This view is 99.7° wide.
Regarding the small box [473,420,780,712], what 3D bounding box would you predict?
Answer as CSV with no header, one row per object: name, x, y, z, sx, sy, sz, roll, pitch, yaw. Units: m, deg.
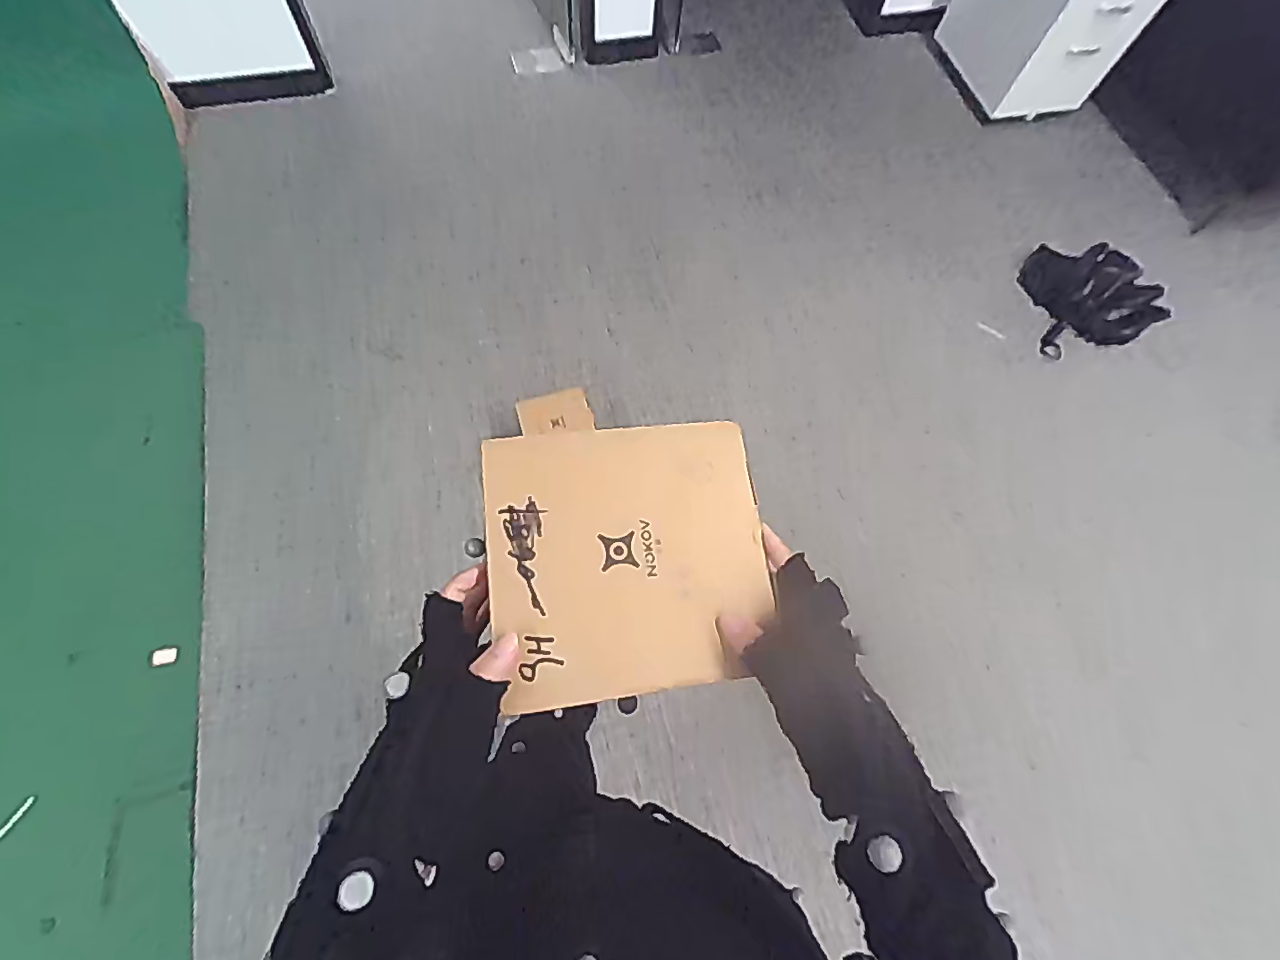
small box,-0.022,0.069,0.413,0.179,0.176,0.168,-8,72,-11

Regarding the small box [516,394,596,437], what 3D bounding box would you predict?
small box,-0.204,-0.093,1.389,0.179,0.176,0.168,-17,69,-9
